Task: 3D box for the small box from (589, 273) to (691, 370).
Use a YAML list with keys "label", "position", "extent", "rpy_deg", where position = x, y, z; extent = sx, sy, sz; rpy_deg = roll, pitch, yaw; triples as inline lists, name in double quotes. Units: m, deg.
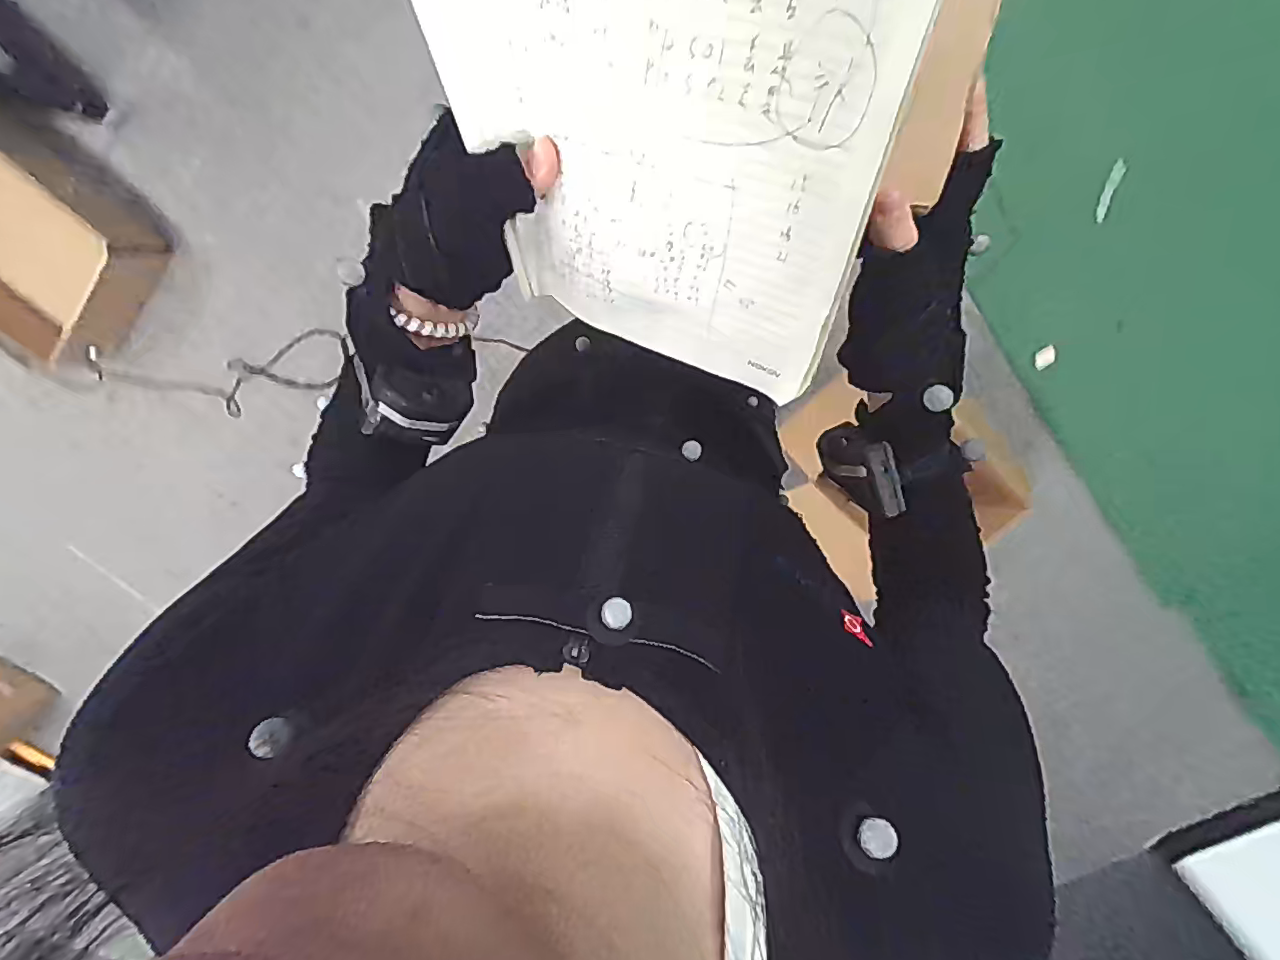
- label: "small box"
  position: [-0.005, -0.391, 1.319]
  extent: [0.179, 0.176, 0.168]
  rpy_deg: [33, 121, 9]
